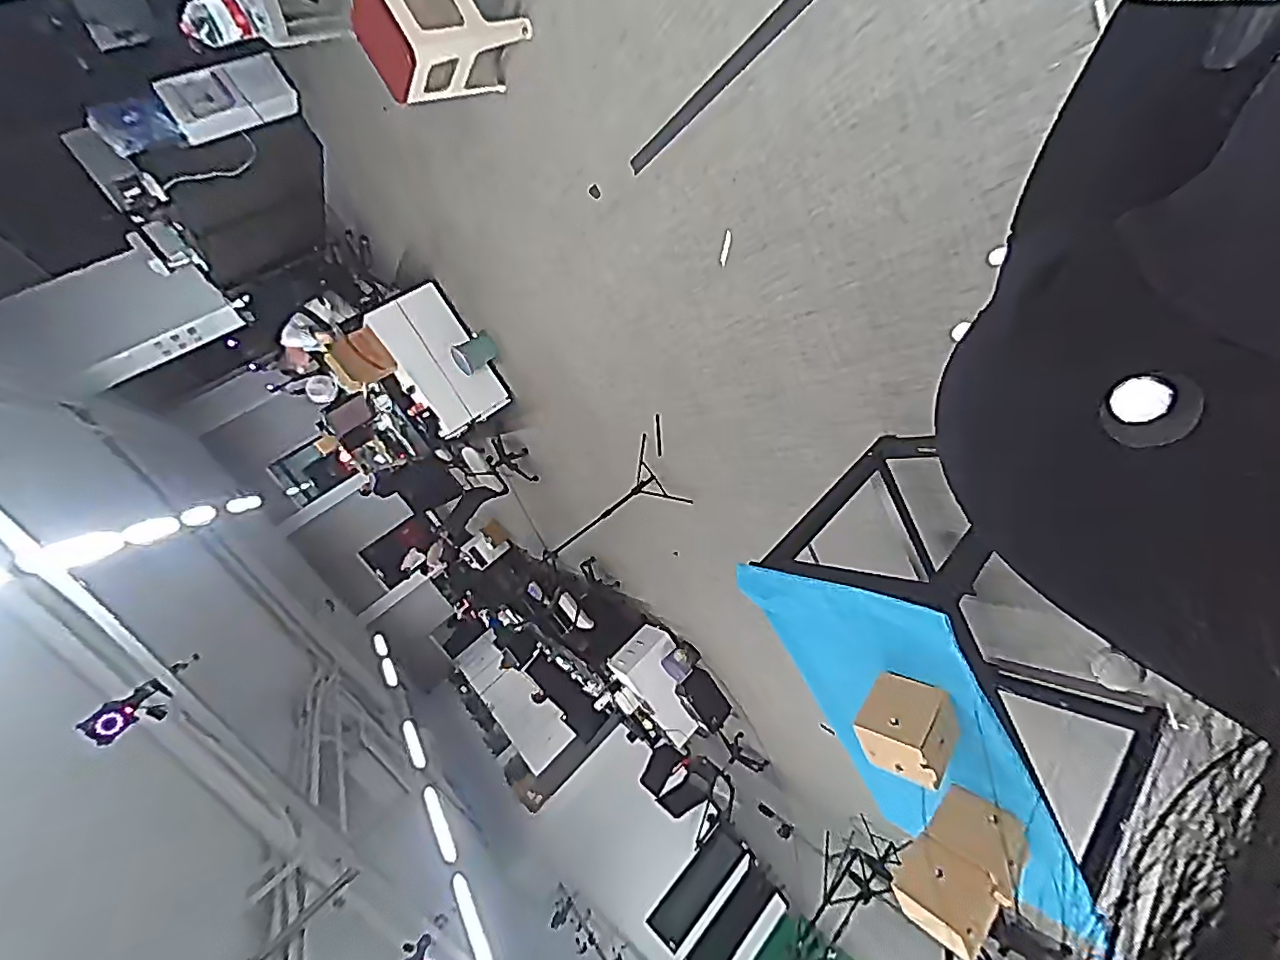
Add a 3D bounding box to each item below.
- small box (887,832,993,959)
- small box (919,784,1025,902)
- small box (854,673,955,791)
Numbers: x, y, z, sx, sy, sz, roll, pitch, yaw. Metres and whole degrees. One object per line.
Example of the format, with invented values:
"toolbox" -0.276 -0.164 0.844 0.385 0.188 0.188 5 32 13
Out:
"small box" 0.785 1.087 1.415 0.179 0.176 0.168 9 133 53
"small box" 0.903 0.986 1.471 0.179 0.176 0.168 6 130 56
"small box" 0.654 0.620 1.352 0.176 0.179 0.168 3 127 49
